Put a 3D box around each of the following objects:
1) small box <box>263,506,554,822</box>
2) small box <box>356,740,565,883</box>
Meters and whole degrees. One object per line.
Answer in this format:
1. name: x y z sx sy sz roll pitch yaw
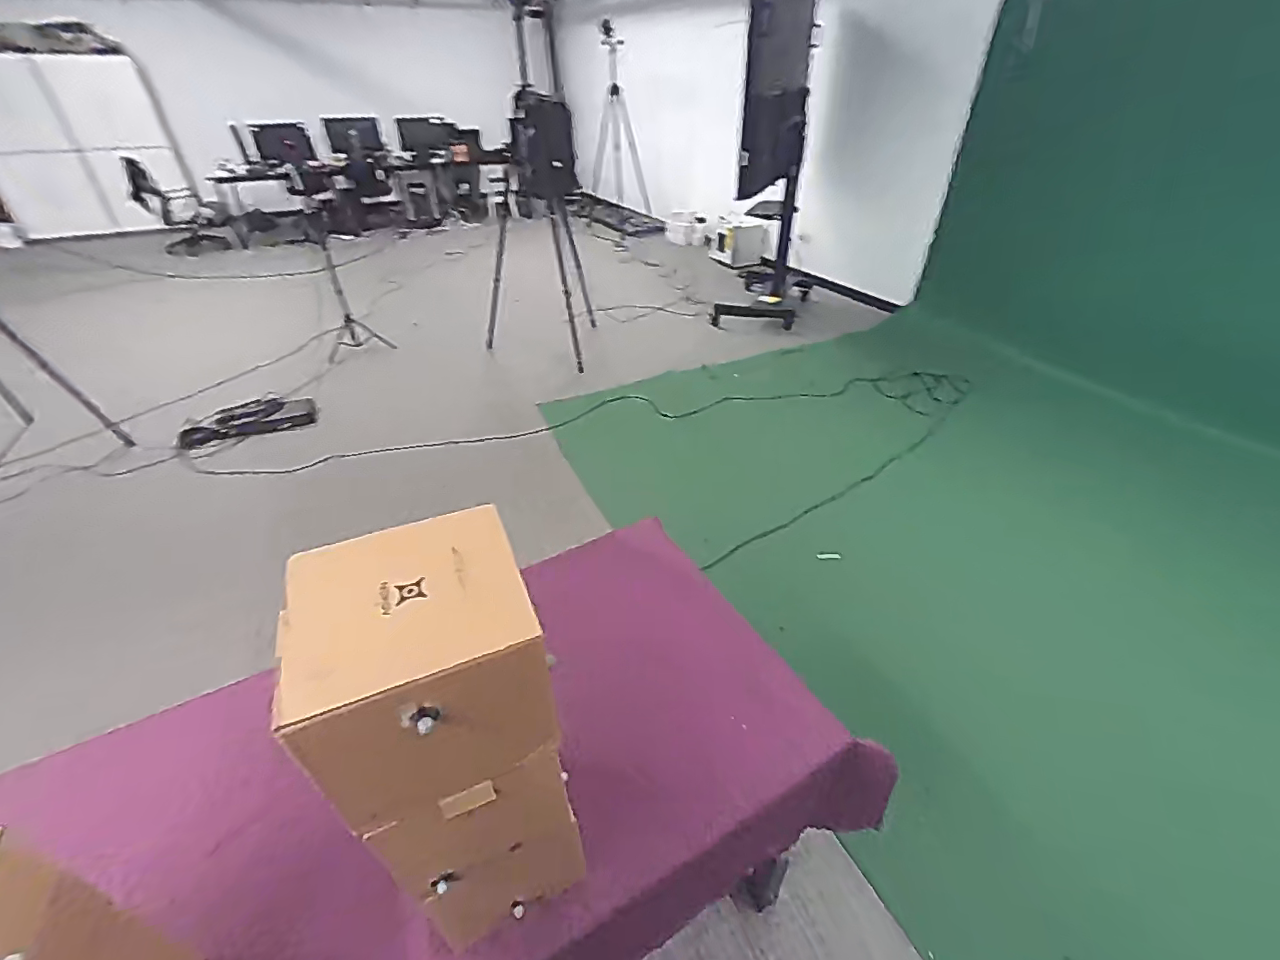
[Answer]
1. small box: -0.186 0.155 0.471 0.179 0.176 0.168 -15 40 -18
2. small box: -0.187 0.283 0.571 0.168 0.176 0.179 -16 38 -19
